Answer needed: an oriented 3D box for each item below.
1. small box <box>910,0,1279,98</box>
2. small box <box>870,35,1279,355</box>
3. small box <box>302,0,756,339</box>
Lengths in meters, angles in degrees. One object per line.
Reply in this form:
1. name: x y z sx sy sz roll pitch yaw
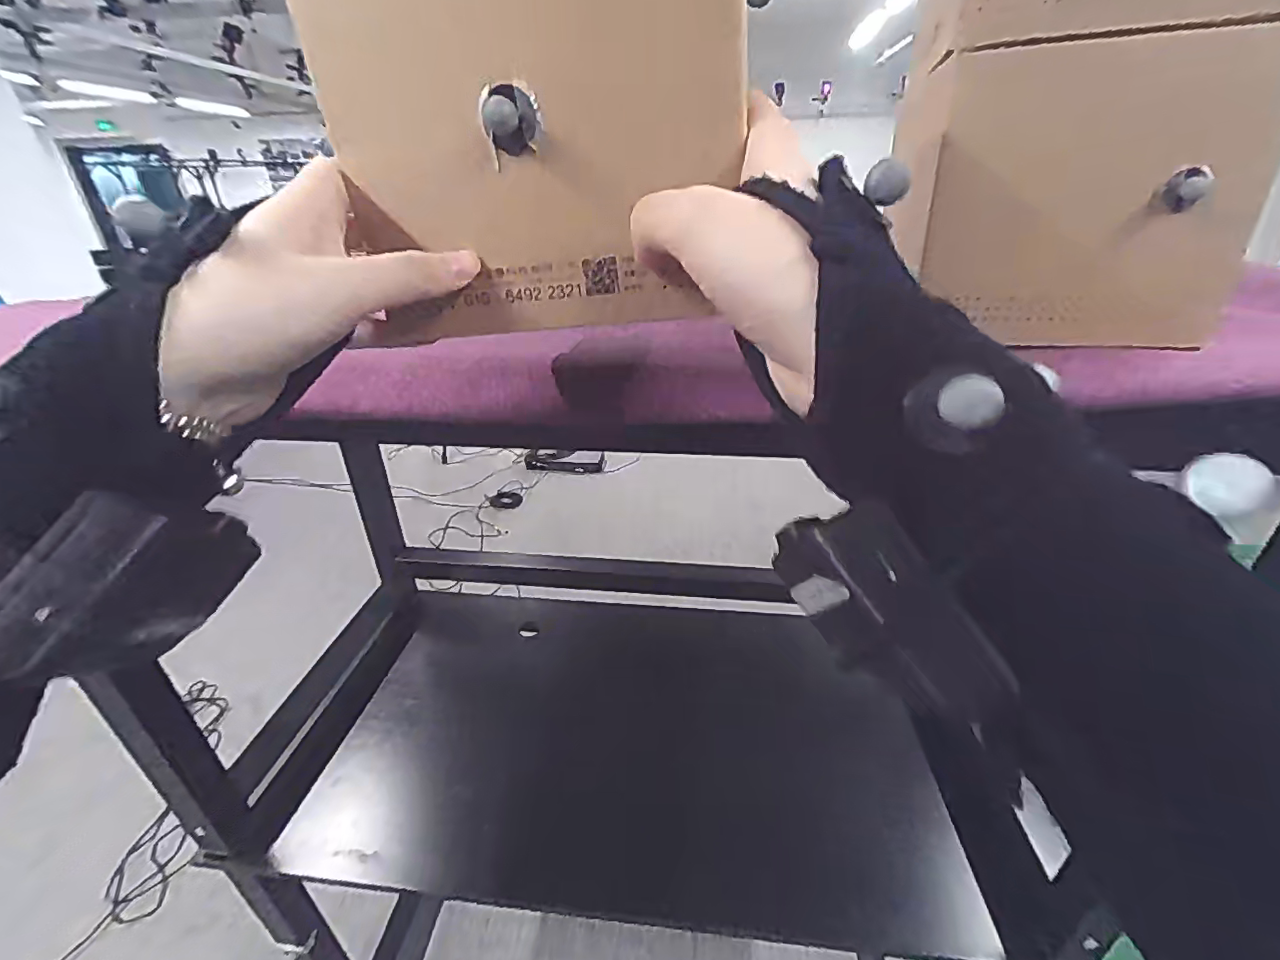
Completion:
1. small box: 0.279 -0.340 0.331 0.179 0.176 0.168 6 26 14
2. small box: 0.284 -0.191 0.396 0.179 0.176 0.168 3 26 12
3. small box: -0.027 -0.174 0.280 0.168 0.176 0.179 -1 28 9
